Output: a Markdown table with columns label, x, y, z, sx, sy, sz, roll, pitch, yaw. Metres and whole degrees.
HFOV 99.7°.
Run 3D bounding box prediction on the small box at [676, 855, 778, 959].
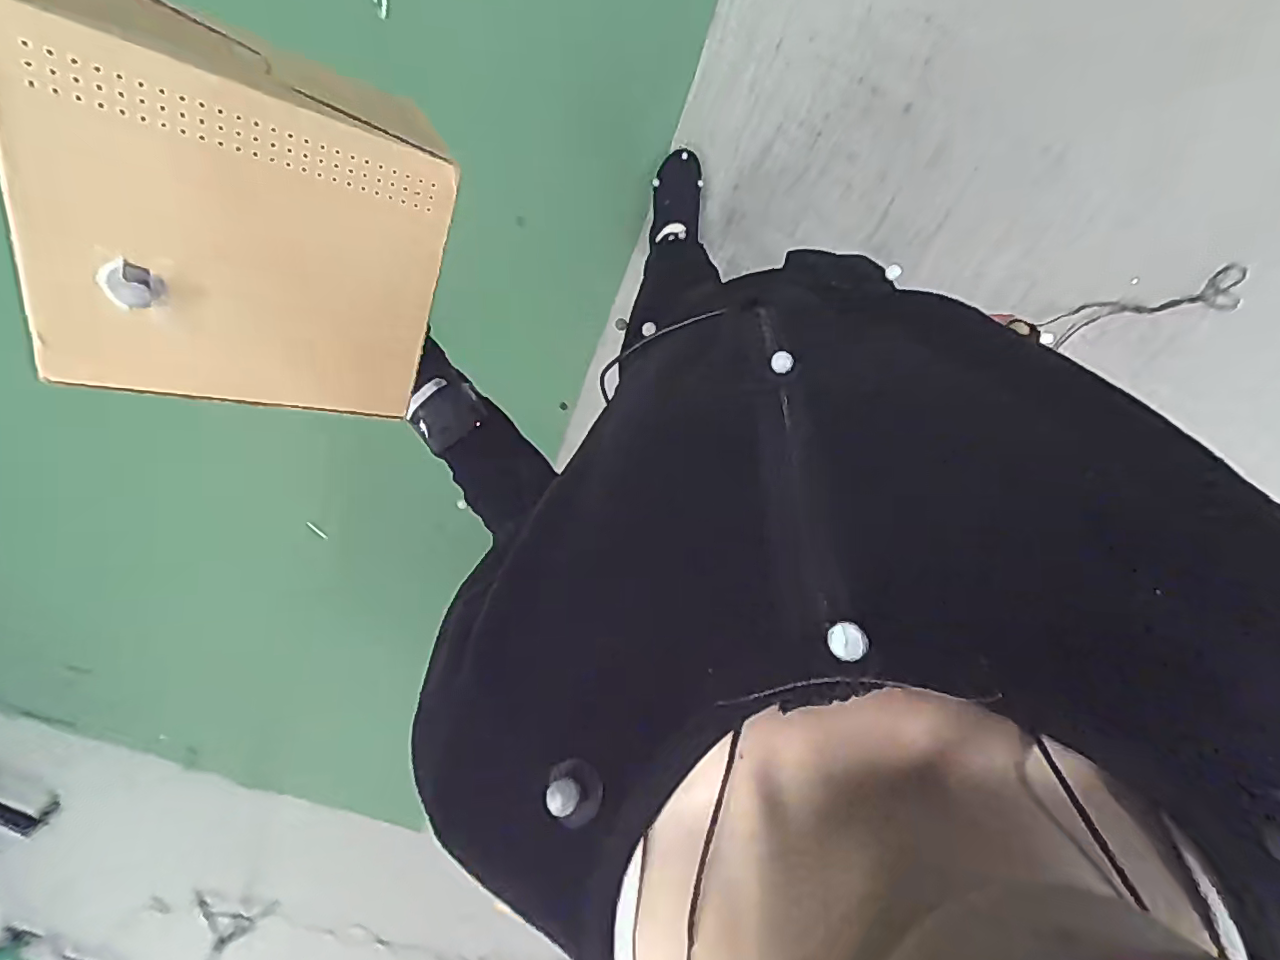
| label | x | y | z | sx | sy | sz | roll | pitch | yaw |
| --- | --- | --- | --- | --- | --- | --- | --- | --- | --- |
| small box | 0.196 | 1.021 | 1.271 | 0.179 | 0.176 | 0.168 | 20 | 117 | -8 |
